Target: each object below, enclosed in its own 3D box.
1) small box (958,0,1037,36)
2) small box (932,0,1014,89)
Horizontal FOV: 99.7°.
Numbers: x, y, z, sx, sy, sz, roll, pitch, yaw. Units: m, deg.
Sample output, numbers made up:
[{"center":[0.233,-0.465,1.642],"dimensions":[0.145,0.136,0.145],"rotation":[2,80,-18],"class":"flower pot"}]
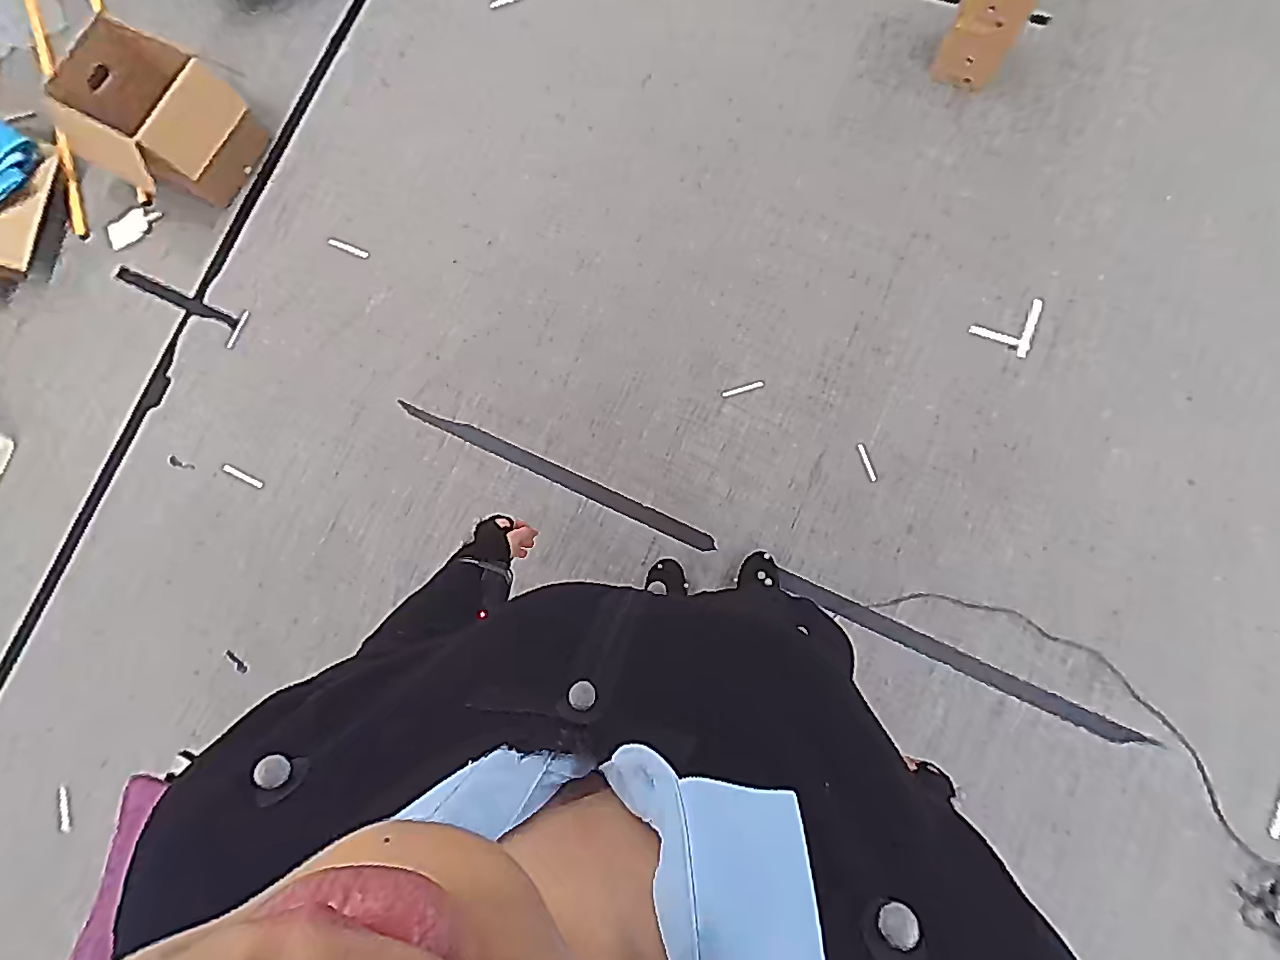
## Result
[{"center":[0.953,-1.302,1.384],"dimensions":[0.168,0.176,0.179],"rotation":[23,85,10],"class":"small box"},{"center":[0.964,-1.271,1.543],"dimensions":[0.168,0.176,0.179],"rotation":[21,84,9],"class":"small box"}]
